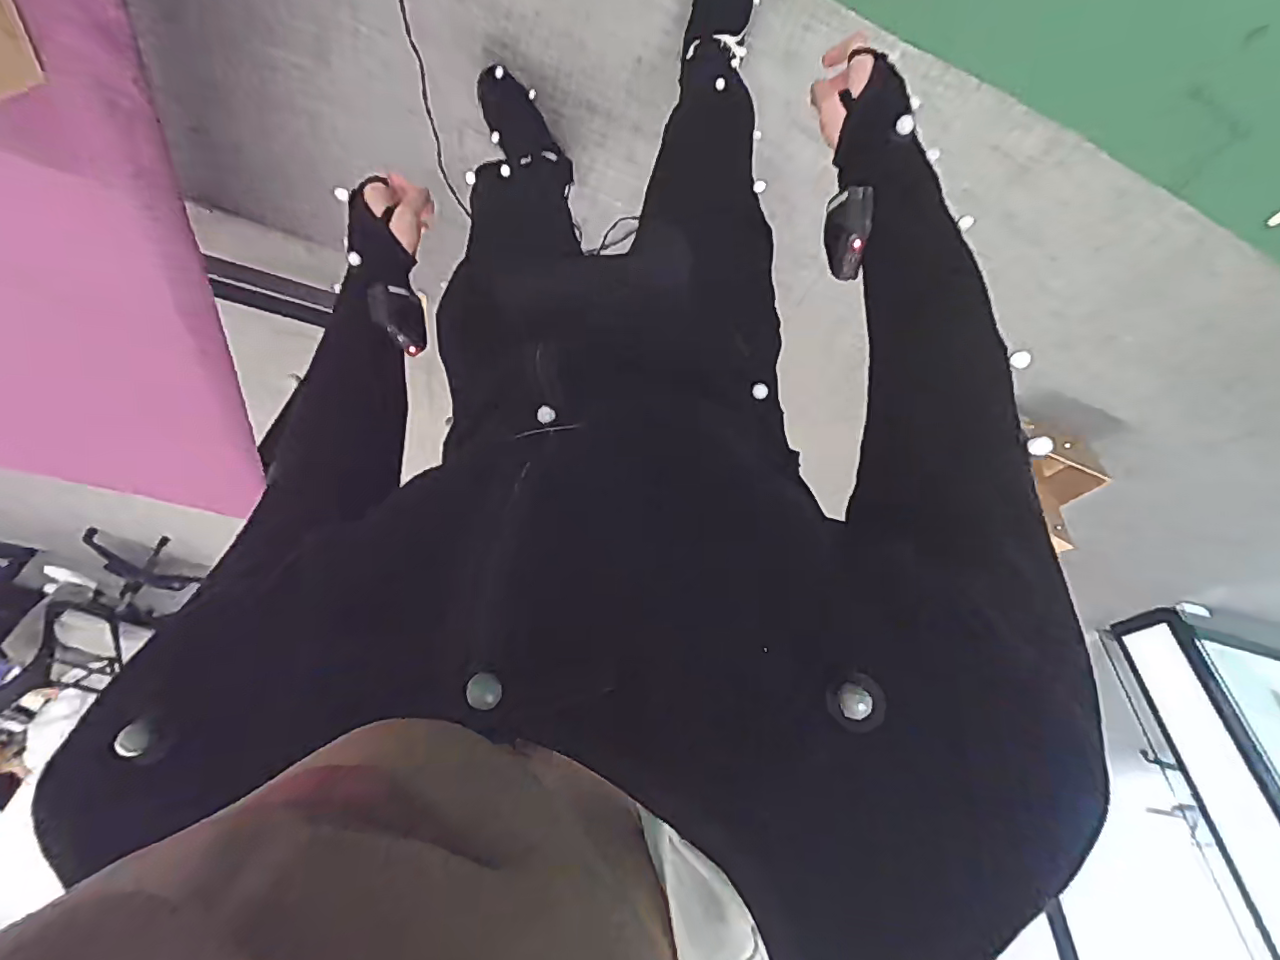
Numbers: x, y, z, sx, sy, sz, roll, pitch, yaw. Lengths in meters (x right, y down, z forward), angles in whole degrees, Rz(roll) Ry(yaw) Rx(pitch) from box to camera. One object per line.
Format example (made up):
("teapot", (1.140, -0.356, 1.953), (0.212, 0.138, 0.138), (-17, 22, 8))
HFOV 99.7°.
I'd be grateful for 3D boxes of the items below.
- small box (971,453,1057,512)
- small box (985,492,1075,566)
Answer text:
("small box", (1.322, 0.030, 1.919), (0.179, 0.176, 0.168), (21, 143, -18))
("small box", (1.311, 0.164, 1.826), (0.179, 0.176, 0.168), (23, 141, -21))
